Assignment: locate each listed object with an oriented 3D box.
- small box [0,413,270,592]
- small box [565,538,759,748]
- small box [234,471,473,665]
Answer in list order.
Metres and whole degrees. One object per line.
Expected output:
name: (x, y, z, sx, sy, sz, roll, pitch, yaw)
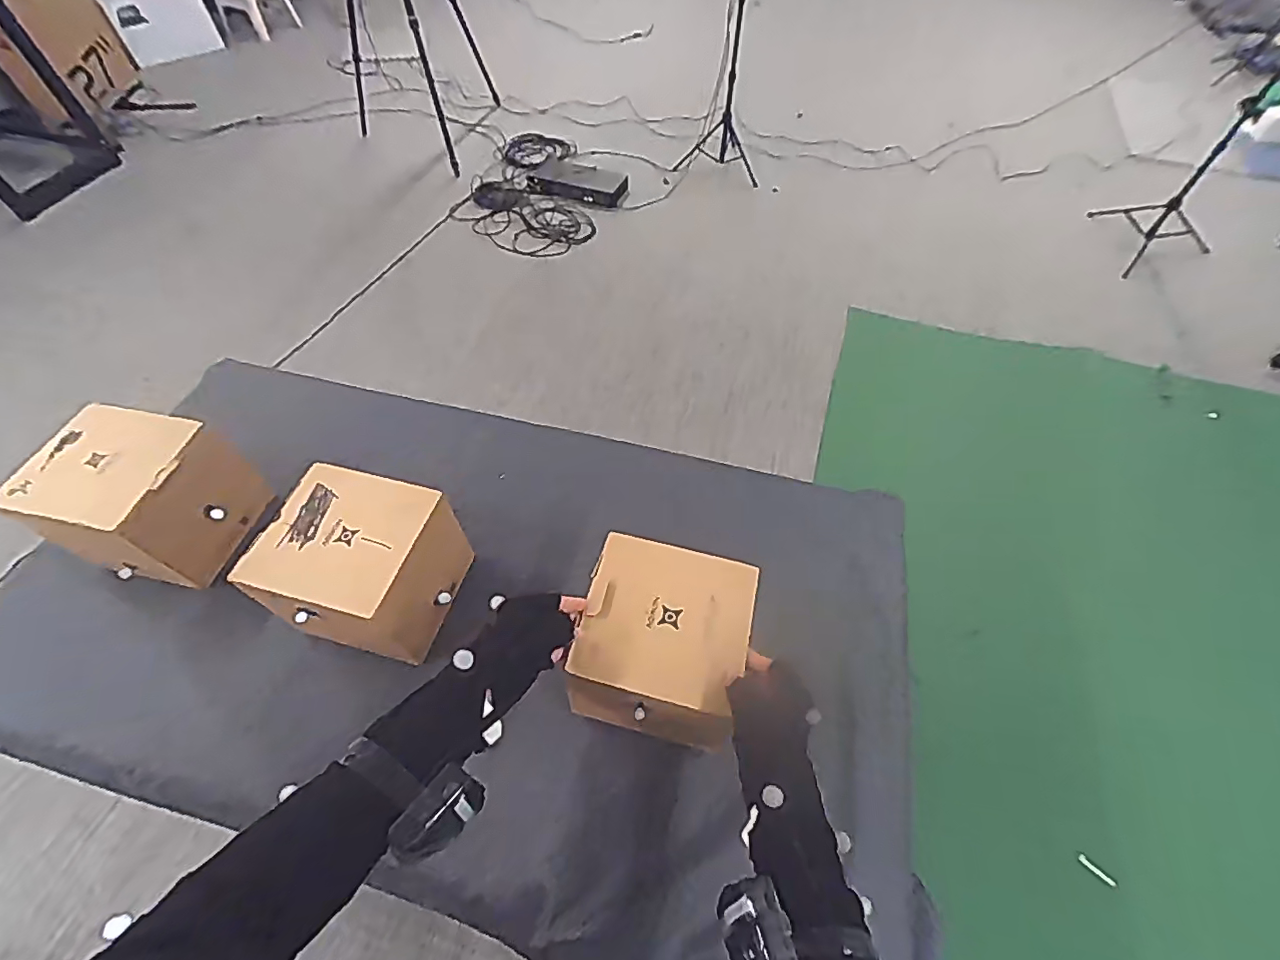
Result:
small box: (-0.659, 0.037, 0.733, 0.179, 0.176, 0.168, 10, 55, 6)
small box: (0.026, 0.194, 0.629, 0.179, 0.176, 0.168, 13, 55, 6)
small box: (-0.339, 0.116, 0.681, 0.179, 0.176, 0.168, 12, 56, 7)
